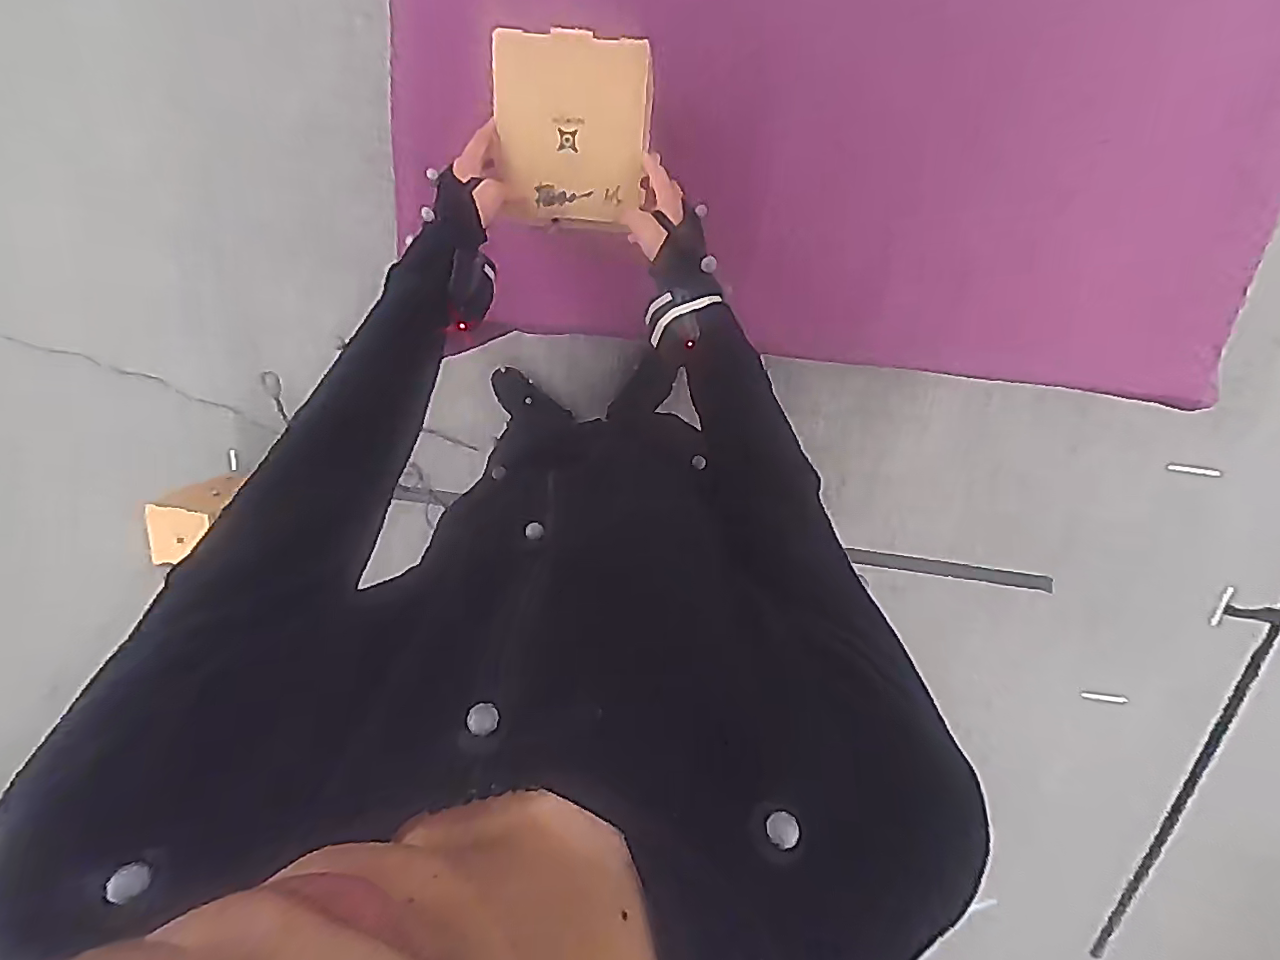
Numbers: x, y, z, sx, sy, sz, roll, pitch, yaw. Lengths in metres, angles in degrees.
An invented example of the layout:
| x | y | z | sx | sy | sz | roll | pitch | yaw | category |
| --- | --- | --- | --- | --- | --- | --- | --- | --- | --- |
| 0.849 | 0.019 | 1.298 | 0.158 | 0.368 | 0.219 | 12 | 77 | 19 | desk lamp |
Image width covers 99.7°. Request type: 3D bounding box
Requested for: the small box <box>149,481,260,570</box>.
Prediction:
| x | y | z | sx | sy | sz | roll | pitch | yaw | category |
| --- | --- | --- | --- | --- | --- | --- | --- | --- | --- |
| -1.178 | 0.120 | 1.477 | 0.168 | 0.176 | 0.179 | 10 | 108 | -1 | small box |

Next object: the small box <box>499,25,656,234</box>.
| x | y | z | sx | sy | sz | roll | pitch | yaw | category |
| --- | --- | --- | --- | --- | --- | --- | --- | --- | --- |
| -0.070 | -0.411 | 0.664 | 0.168 | 0.176 | 0.179 | 5 | 111 | 1 | small box |
